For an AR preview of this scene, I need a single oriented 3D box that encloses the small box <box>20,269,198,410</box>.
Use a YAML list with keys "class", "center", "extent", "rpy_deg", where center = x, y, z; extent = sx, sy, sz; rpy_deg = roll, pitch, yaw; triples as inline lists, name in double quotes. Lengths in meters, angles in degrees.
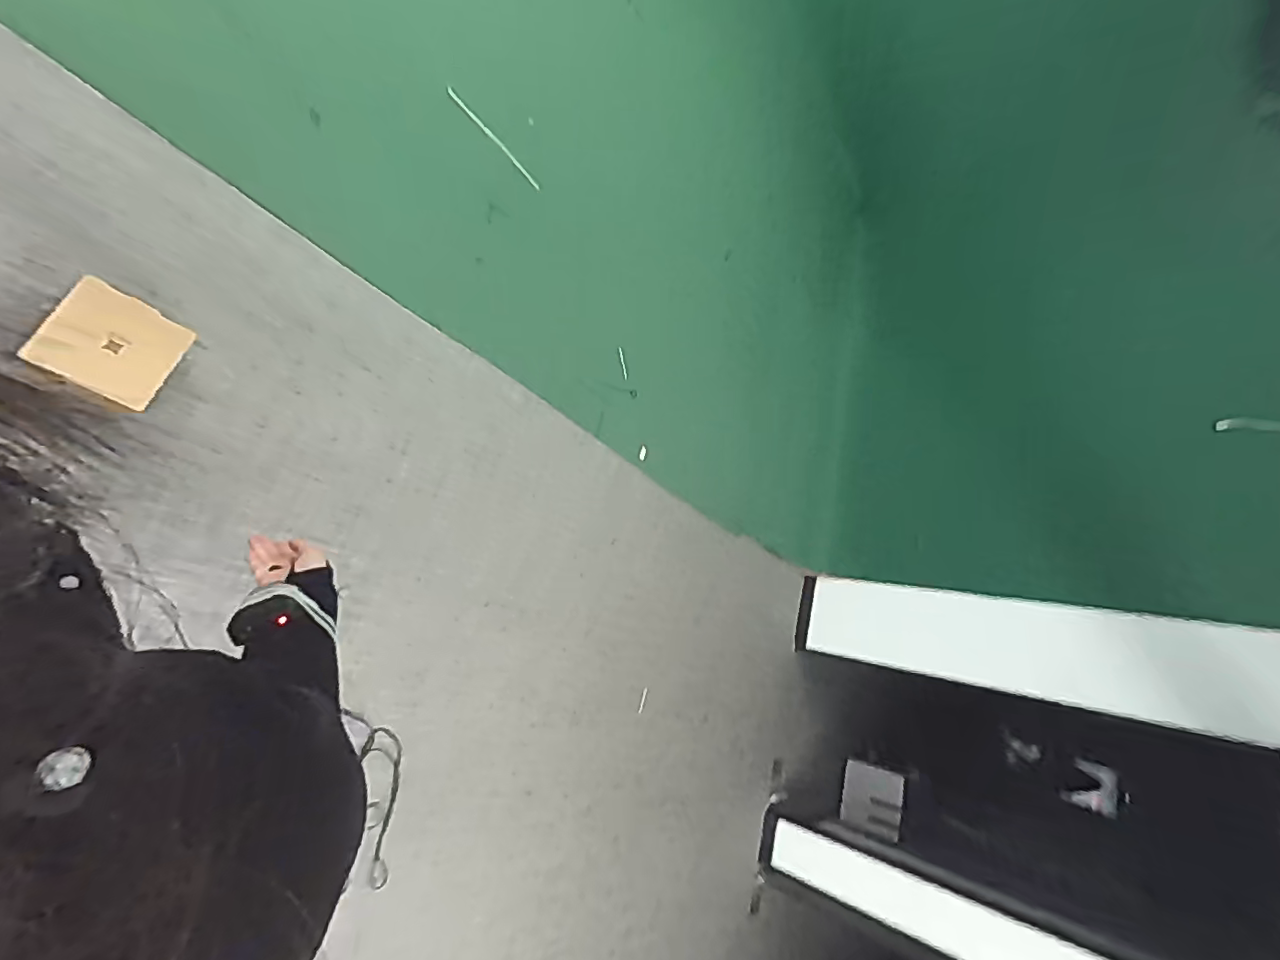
- class: "small box"
  center: [-0.960, -0.243, 0.982]
  extent: [0.168, 0.176, 0.179]
  rpy_deg: [38, 61, -44]
